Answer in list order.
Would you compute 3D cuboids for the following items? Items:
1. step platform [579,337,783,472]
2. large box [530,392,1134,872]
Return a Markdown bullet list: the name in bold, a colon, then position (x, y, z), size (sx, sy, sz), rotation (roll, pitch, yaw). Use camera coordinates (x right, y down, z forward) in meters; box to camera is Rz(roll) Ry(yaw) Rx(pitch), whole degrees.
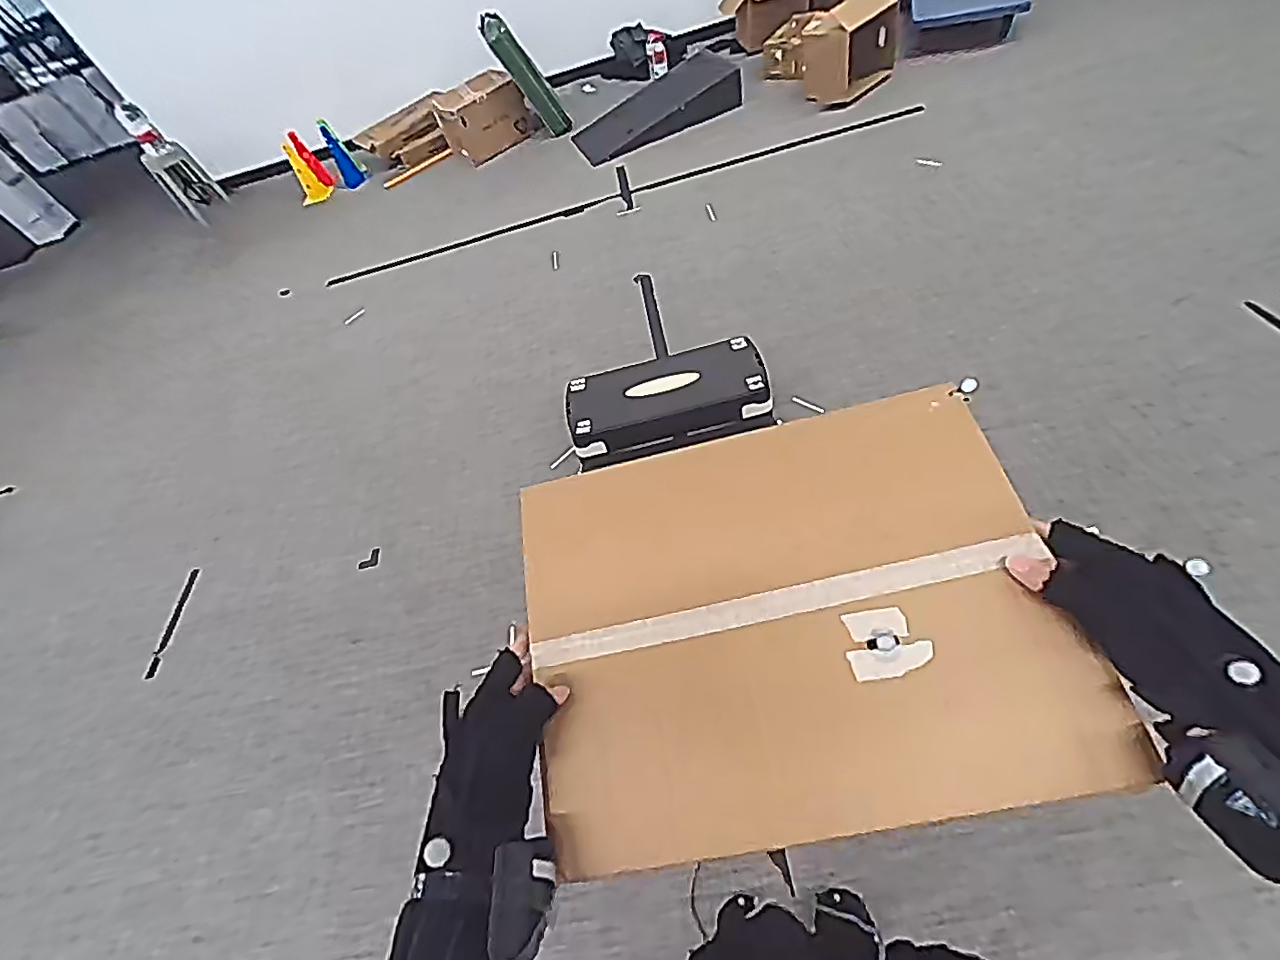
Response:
- **step platform**: position (0.132, -0.262, 1.854), size (0.684, 0.204, 0.286), rotation (-14, 53, 4)
- **large box**: position (0.138, 0.165, 0.571), size (0.408, 0.320, 0.320), rotation (-14, 63, 6)
